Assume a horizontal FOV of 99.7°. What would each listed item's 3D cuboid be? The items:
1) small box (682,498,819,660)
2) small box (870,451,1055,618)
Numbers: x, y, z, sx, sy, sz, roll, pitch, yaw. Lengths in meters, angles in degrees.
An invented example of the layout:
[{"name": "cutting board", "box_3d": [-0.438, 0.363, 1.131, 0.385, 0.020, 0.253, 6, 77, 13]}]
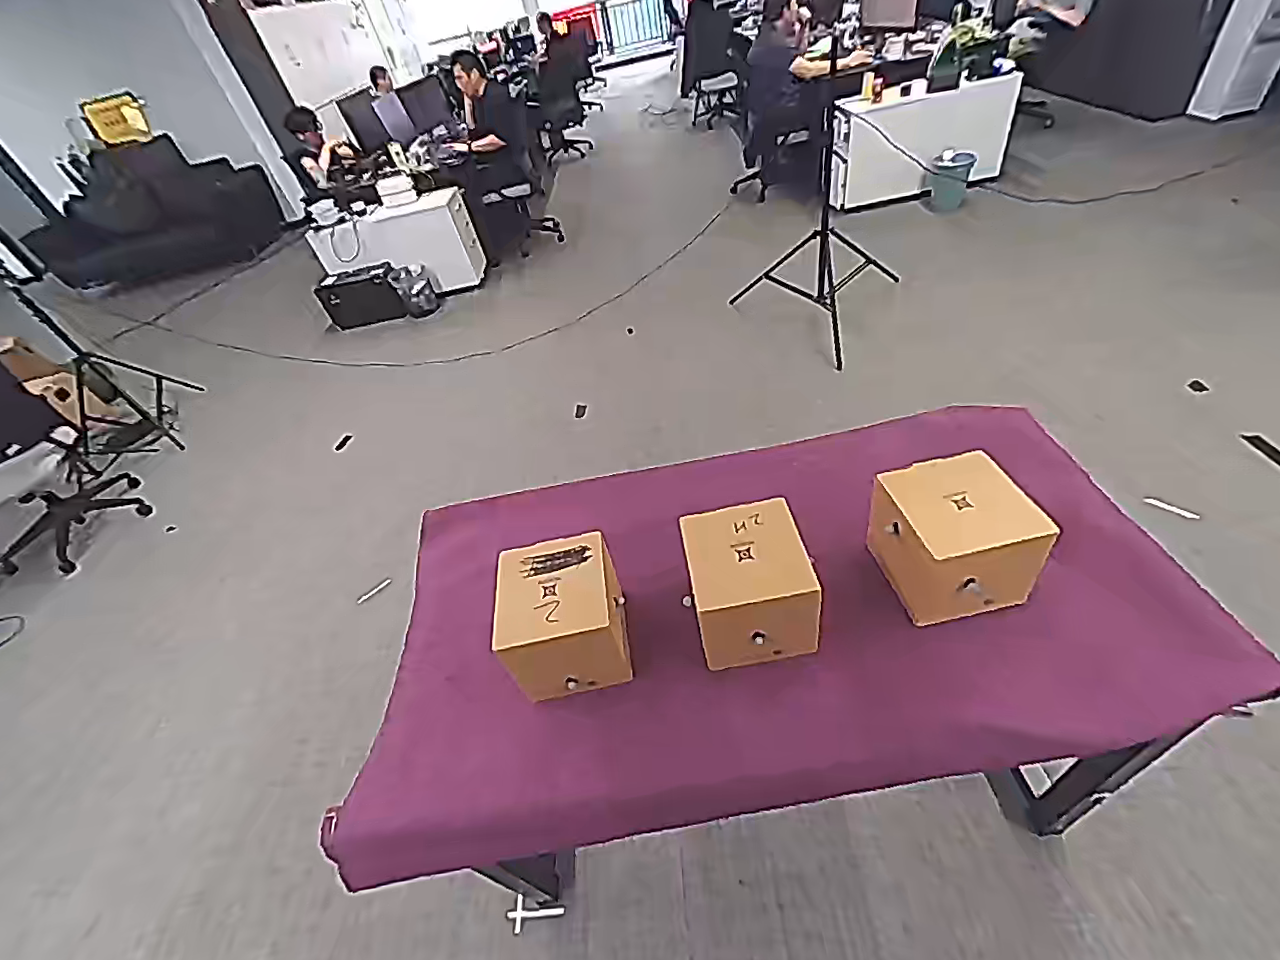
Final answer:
[{"name": "small box", "box_3d": [0.165, 0.157, 0.828, 0.168, 0.176, 0.179, -11, 43, 3]}, {"name": "small box", "box_3d": [0.467, 0.088, 0.818, 0.168, 0.176, 0.179, -14, 41, 2]}]
